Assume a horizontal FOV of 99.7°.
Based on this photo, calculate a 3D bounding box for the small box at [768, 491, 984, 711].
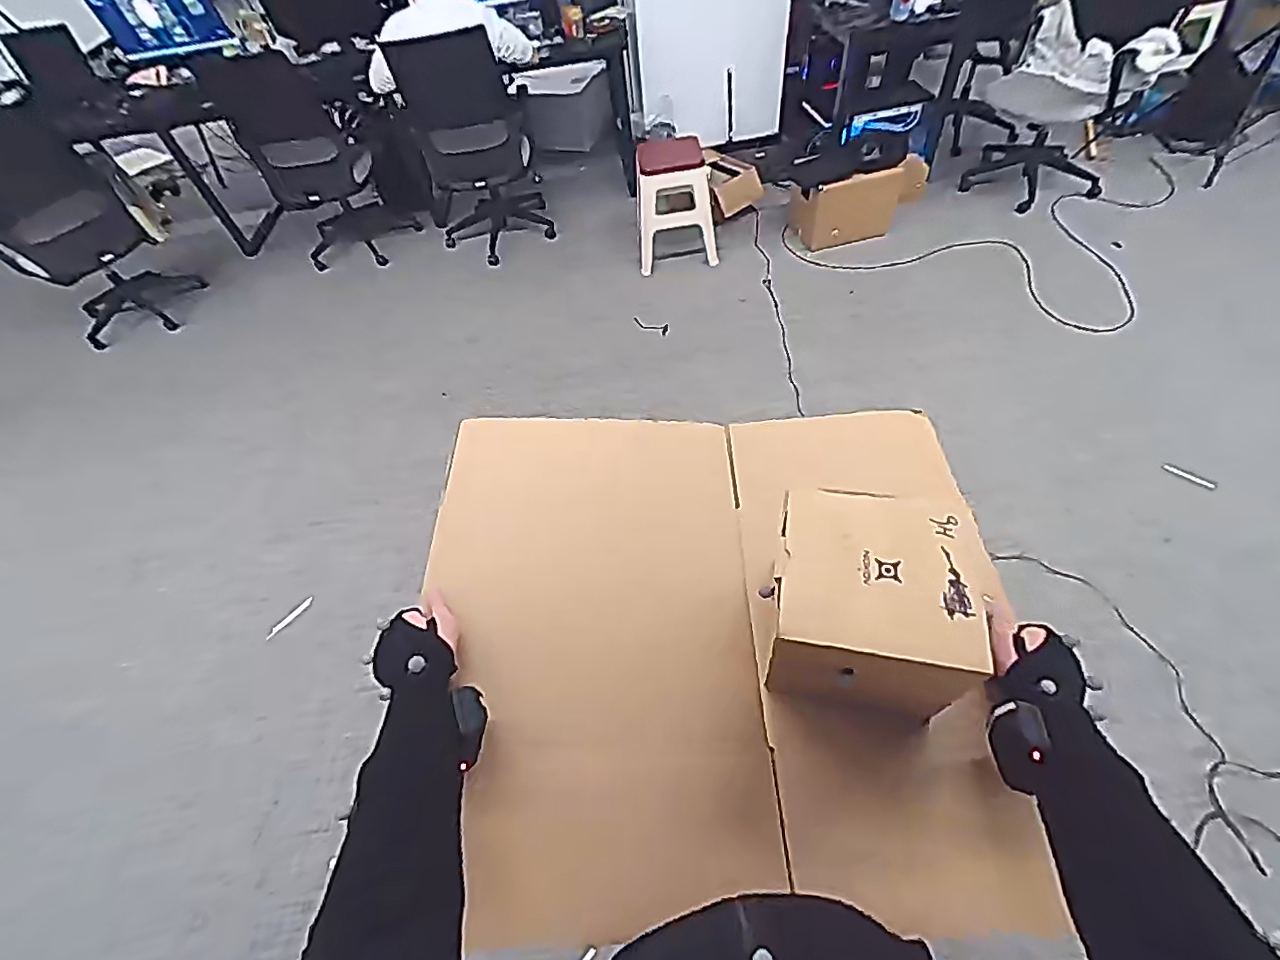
[{"bbox_3d":[0.233,0.132,0.575,0.179,0.176,0.168,6,56,14],"label":"small box"}]
